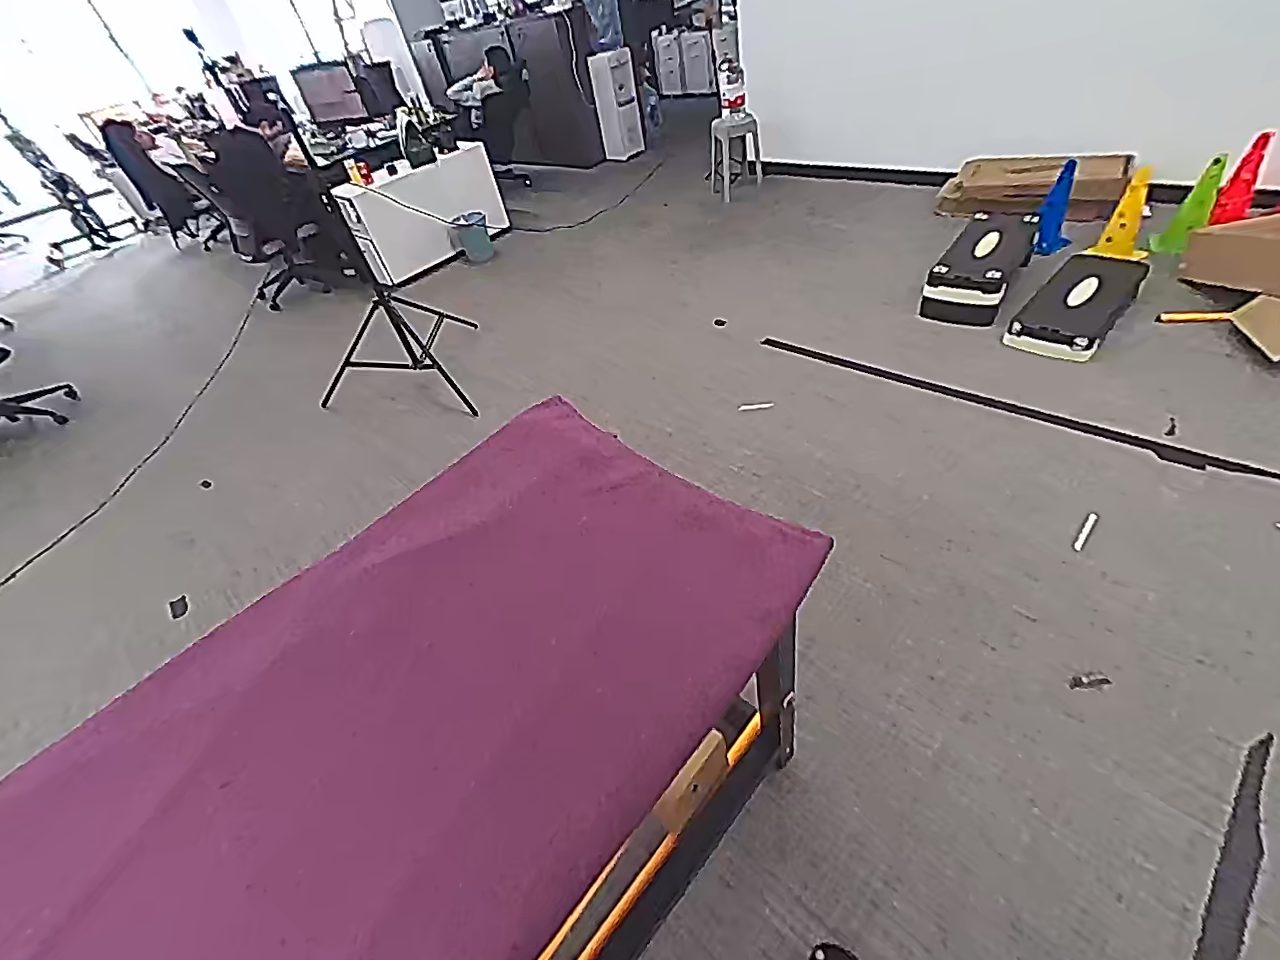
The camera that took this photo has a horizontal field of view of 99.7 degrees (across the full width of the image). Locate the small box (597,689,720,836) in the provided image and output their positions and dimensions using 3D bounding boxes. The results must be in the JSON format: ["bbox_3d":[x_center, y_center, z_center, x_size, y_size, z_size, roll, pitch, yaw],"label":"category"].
[{"bbox_3d":[0.046,0.561,1.070,0.168,0.176,0.179,28,58,34],"label":"small box"}]
